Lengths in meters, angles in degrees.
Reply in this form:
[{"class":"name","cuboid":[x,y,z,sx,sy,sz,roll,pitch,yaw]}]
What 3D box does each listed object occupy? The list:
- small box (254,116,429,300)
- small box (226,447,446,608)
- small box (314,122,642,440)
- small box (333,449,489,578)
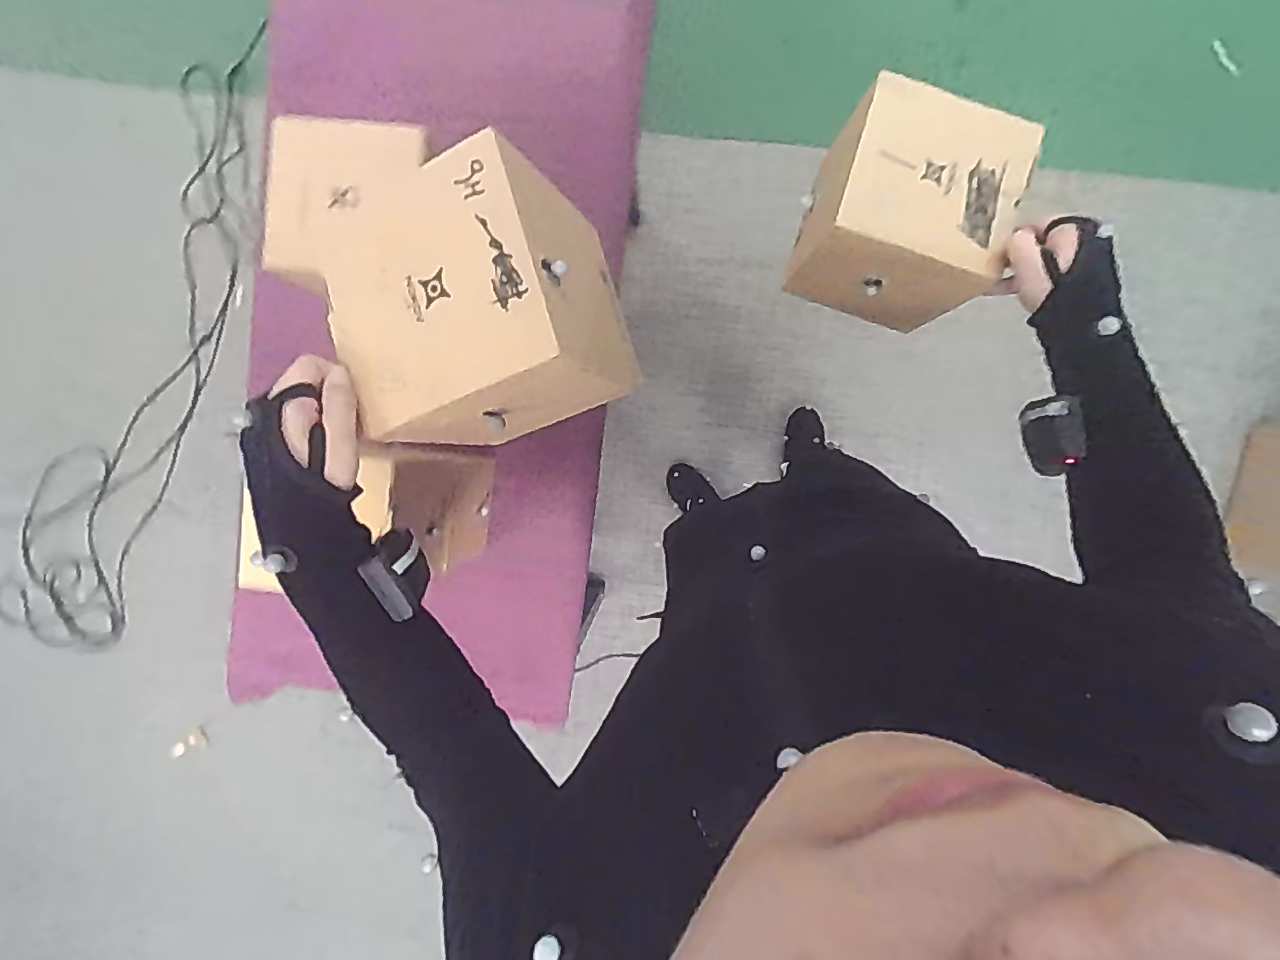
[{"class":"small box","cuboid":[-0.323,-0.305,0.660,0.179,0.176,0.168,6,93,4]},{"class":"small box","cuboid":[-0.367,0.051,0.680,0.179,0.176,0.168,6,93,2]},{"class":"small box","cuboid":[-0.121,-0.136,0.450,0.179,0.176,0.168,-18,86,19]},{"class":"small box","cuboid":[-0.356,0.044,0.842,0.179,0.176,0.168,7,93,3]}]
